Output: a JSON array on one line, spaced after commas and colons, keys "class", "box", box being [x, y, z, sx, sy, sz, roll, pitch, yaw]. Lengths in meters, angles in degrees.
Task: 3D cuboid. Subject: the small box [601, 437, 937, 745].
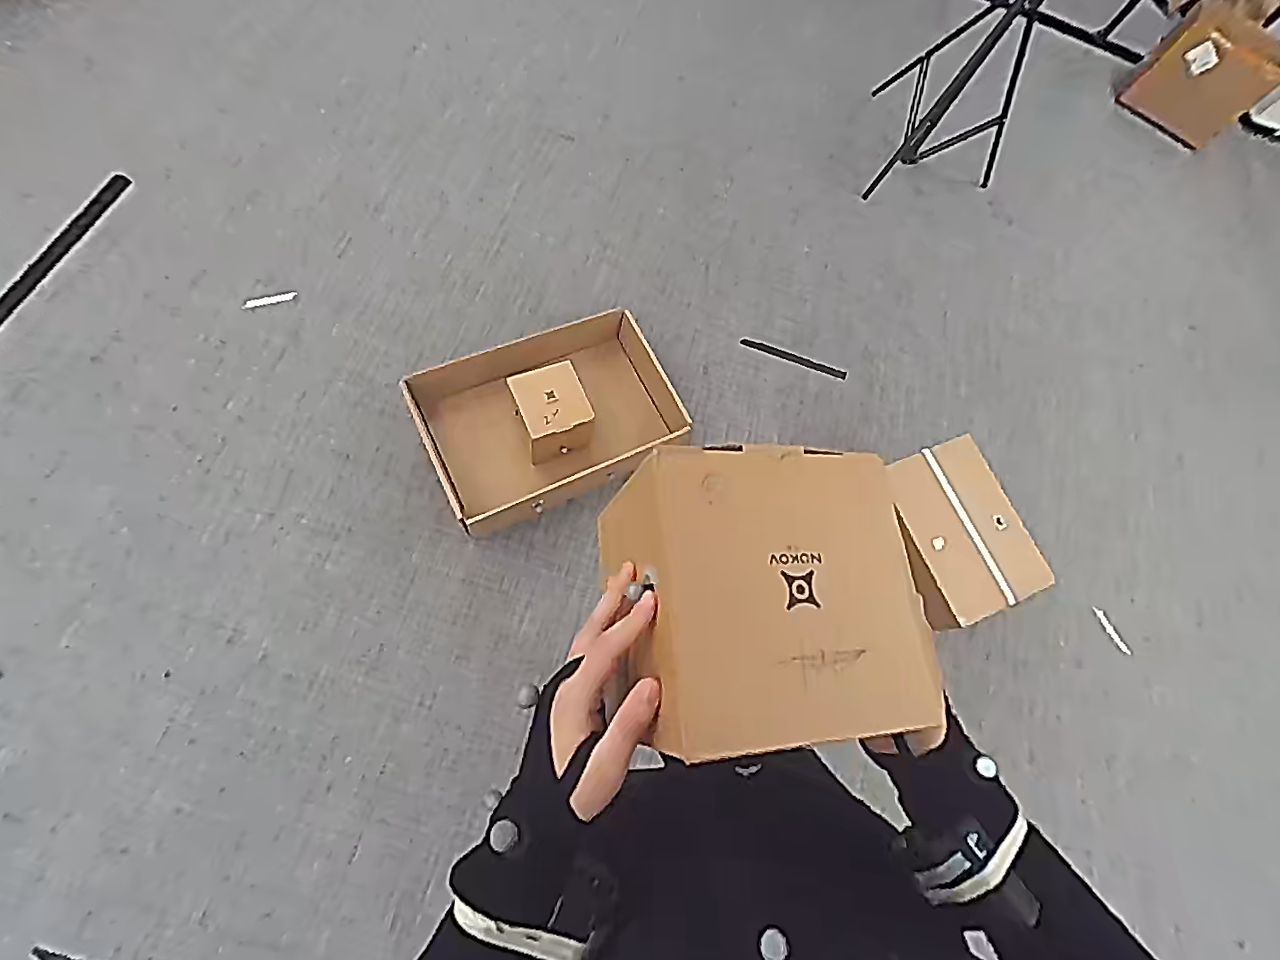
[{"class": "small box", "box": [0.070, 0.085, 0.397, 0.168, 0.176, 0.179, 1, 70, -17]}]

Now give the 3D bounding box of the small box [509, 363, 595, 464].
[{"class": "small box", "box": [-0.228, -0.166, 1.381, 0.168, 0.176, 0.179, -21, 76, -17]}]
